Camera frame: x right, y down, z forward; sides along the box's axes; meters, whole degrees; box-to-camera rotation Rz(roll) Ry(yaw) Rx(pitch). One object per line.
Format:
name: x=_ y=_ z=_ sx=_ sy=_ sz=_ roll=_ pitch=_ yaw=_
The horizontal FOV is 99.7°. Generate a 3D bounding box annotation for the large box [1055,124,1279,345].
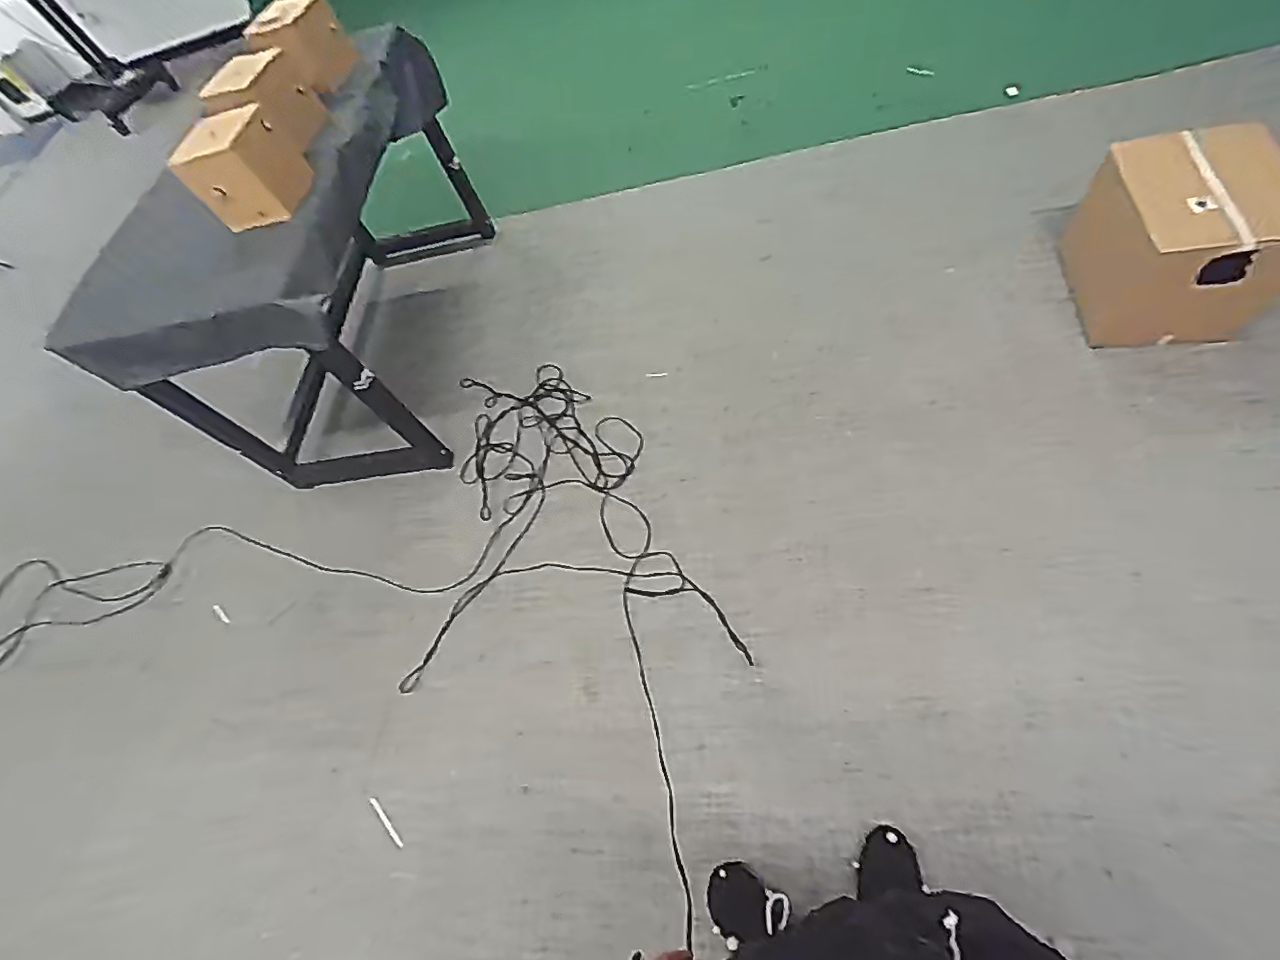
large box: x=1.329 y=-0.602 z=1.360 sx=0.320 sy=0.320 sz=0.408 roll=-1 pitch=63 yaw=15

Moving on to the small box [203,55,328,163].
small box: x=-0.946 y=-0.938 z=1.386 sx=0.168 sy=0.176 sz=0.179 roll=1 pitch=63 yaw=18

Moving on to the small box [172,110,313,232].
small box: x=-0.891 y=-0.691 z=1.232 sx=0.168 sy=0.176 sz=0.179 roll=-7 pitch=59 yaw=13
